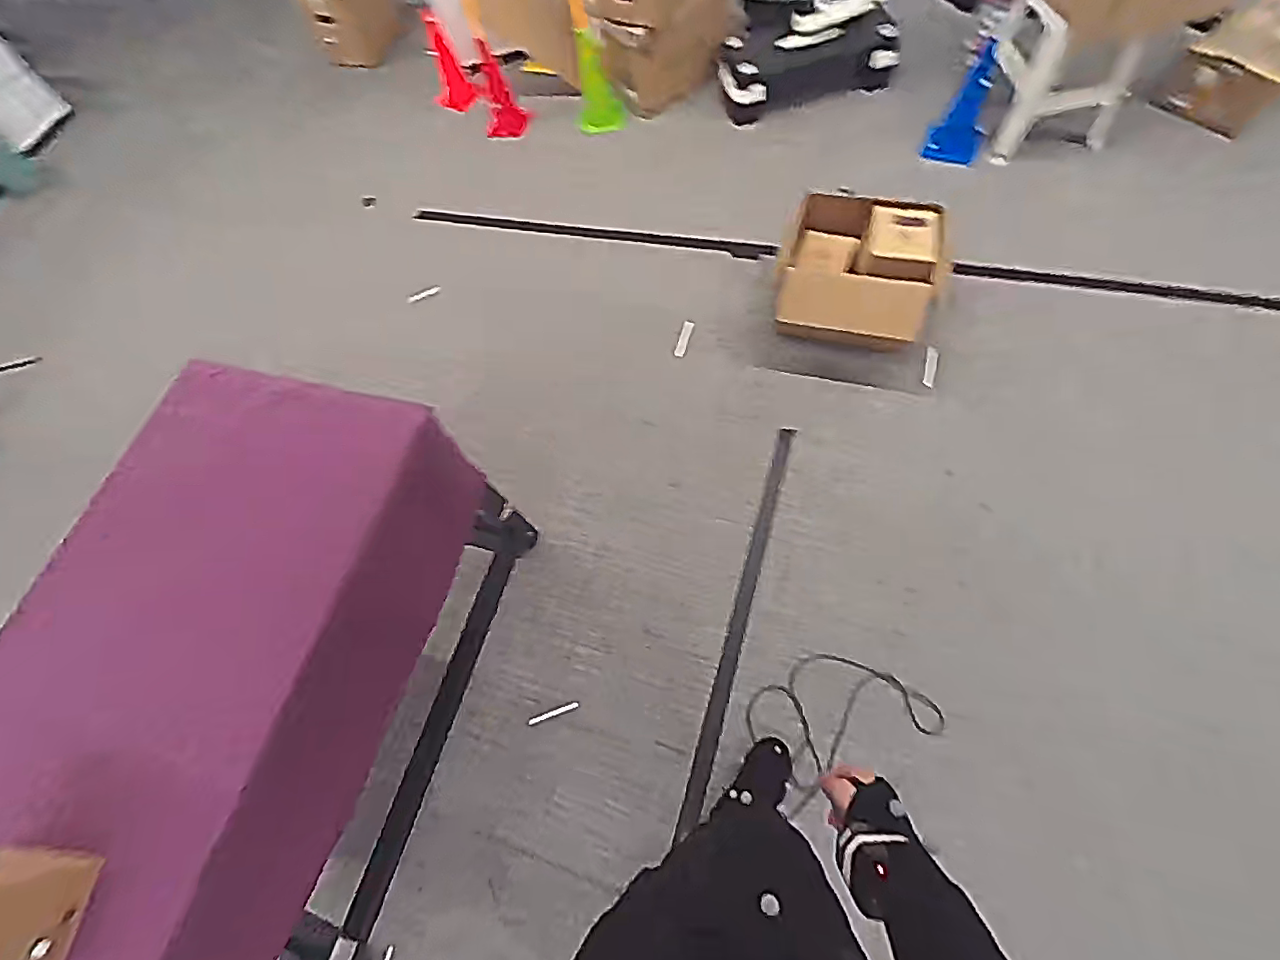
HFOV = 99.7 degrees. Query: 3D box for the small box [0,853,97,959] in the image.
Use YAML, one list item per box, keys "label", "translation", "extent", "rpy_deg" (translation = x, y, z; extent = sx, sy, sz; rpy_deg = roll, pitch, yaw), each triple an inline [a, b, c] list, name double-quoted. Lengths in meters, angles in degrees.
- label: "small box"
  translation: [-0.870, 0.589, 0.679]
  extent: [0.179, 0.176, 0.168]
  rpy_deg: [0, 67, 8]
